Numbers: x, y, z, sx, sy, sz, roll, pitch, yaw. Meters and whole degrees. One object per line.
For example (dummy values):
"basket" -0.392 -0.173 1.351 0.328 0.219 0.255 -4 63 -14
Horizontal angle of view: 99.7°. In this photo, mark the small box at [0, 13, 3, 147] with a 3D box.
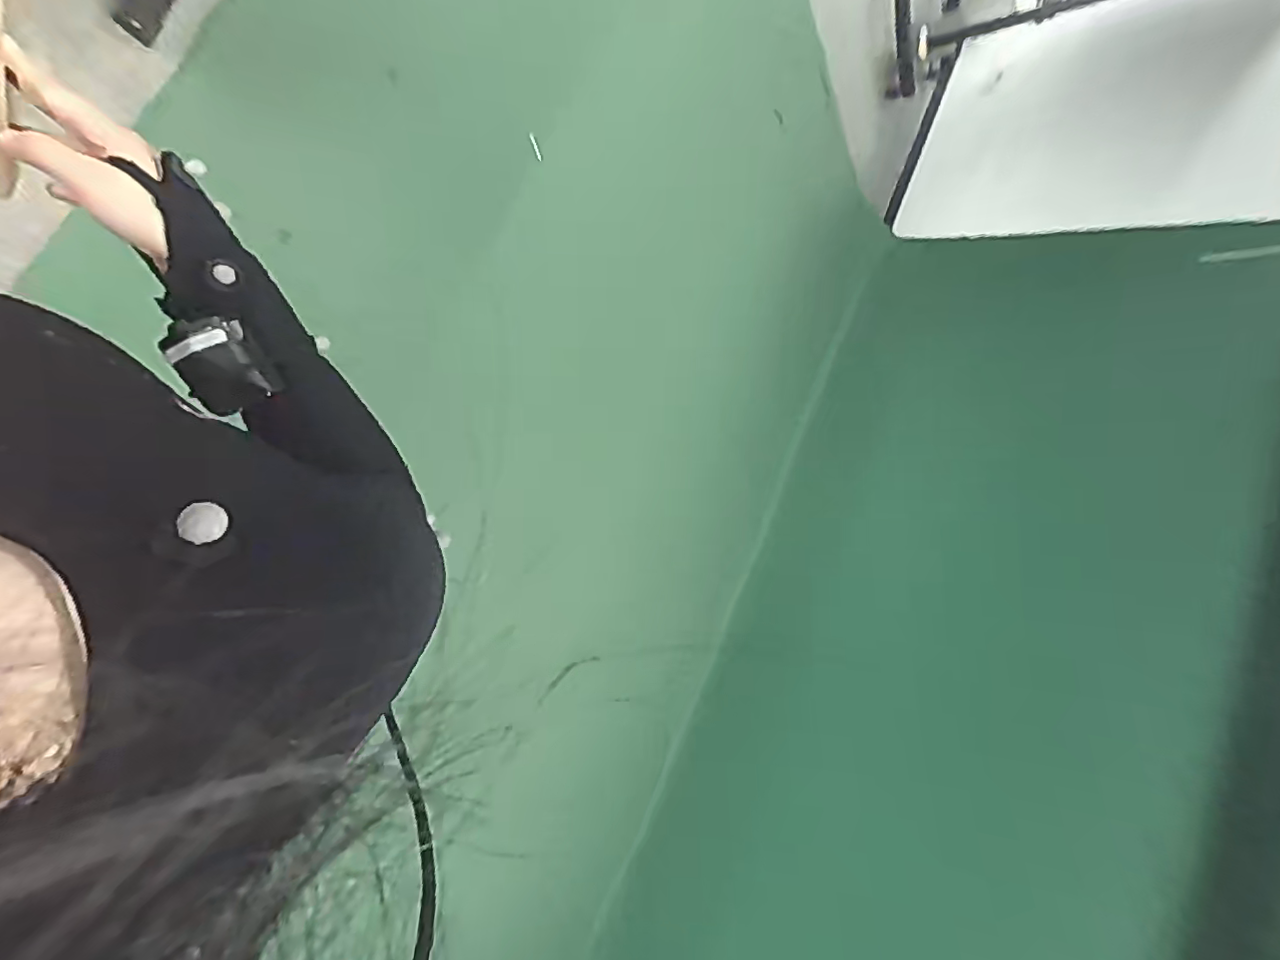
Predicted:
"small box" -0.515 -0.306 0.323 0.168 0.176 0.179 -1 121 -47

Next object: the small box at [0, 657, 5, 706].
"small box" -1.235 0.407 0.928 0.168 0.176 0.179 11 95 -51
